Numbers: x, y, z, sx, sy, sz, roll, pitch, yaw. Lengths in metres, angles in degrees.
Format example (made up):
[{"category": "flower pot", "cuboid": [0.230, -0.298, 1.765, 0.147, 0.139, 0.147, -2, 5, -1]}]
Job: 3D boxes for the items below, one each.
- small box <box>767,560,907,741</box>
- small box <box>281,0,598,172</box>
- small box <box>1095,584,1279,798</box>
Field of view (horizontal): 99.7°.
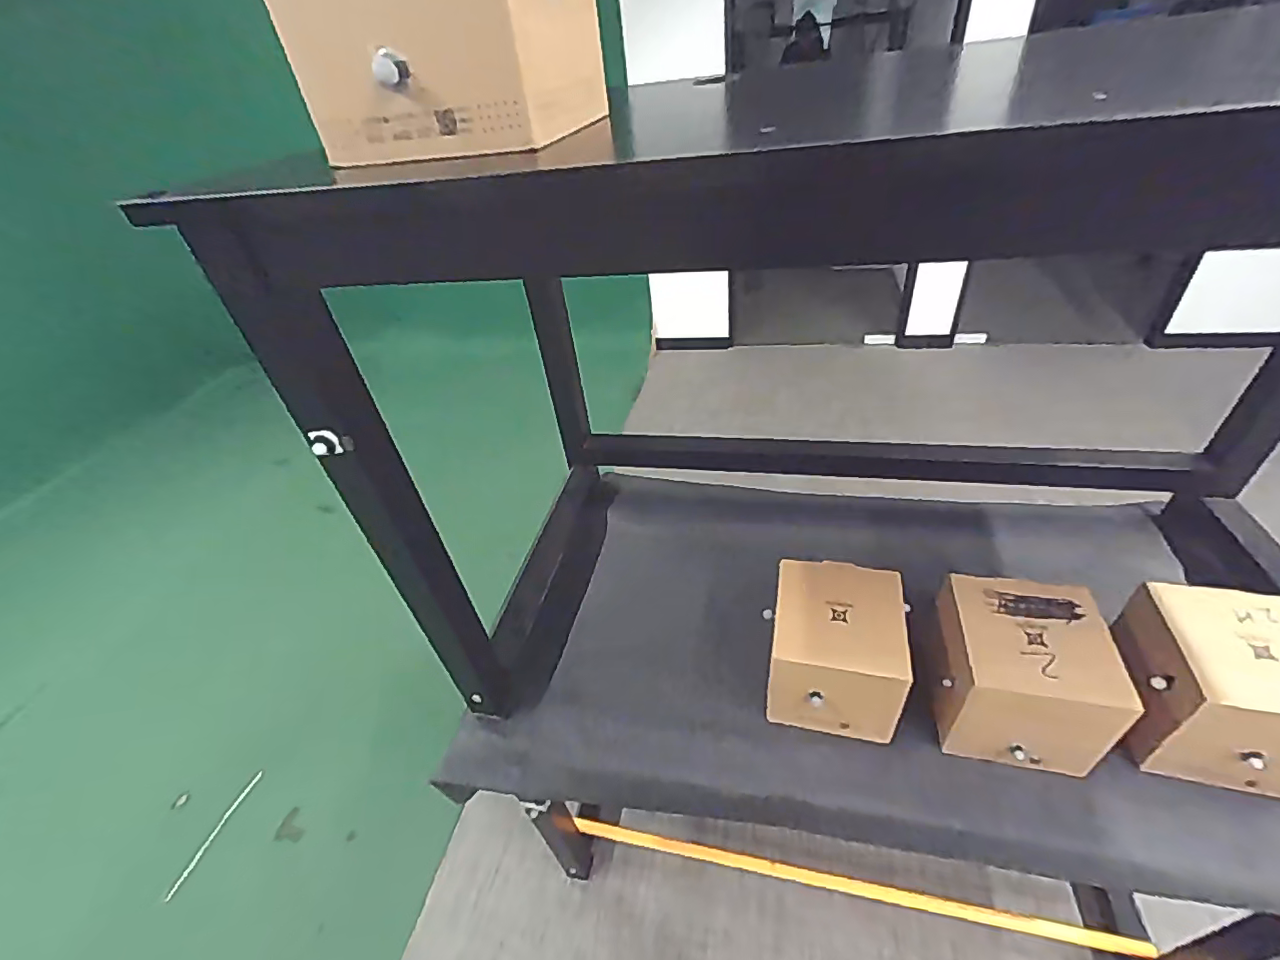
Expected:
[{"category": "small box", "cuboid": [0.274, 0.242, 0.775, 0.168, 0.176, 0.179, 5, 40, 16]}, {"category": "small box", "cuboid": [-0.136, -0.335, 0.393, 0.168, 0.176, 0.179, 4, 41, 14]}, {"category": "small box", "cuboid": [0.714, 0.259, 0.668, 0.168, 0.176, 0.179, 6, 40, 17]}]
